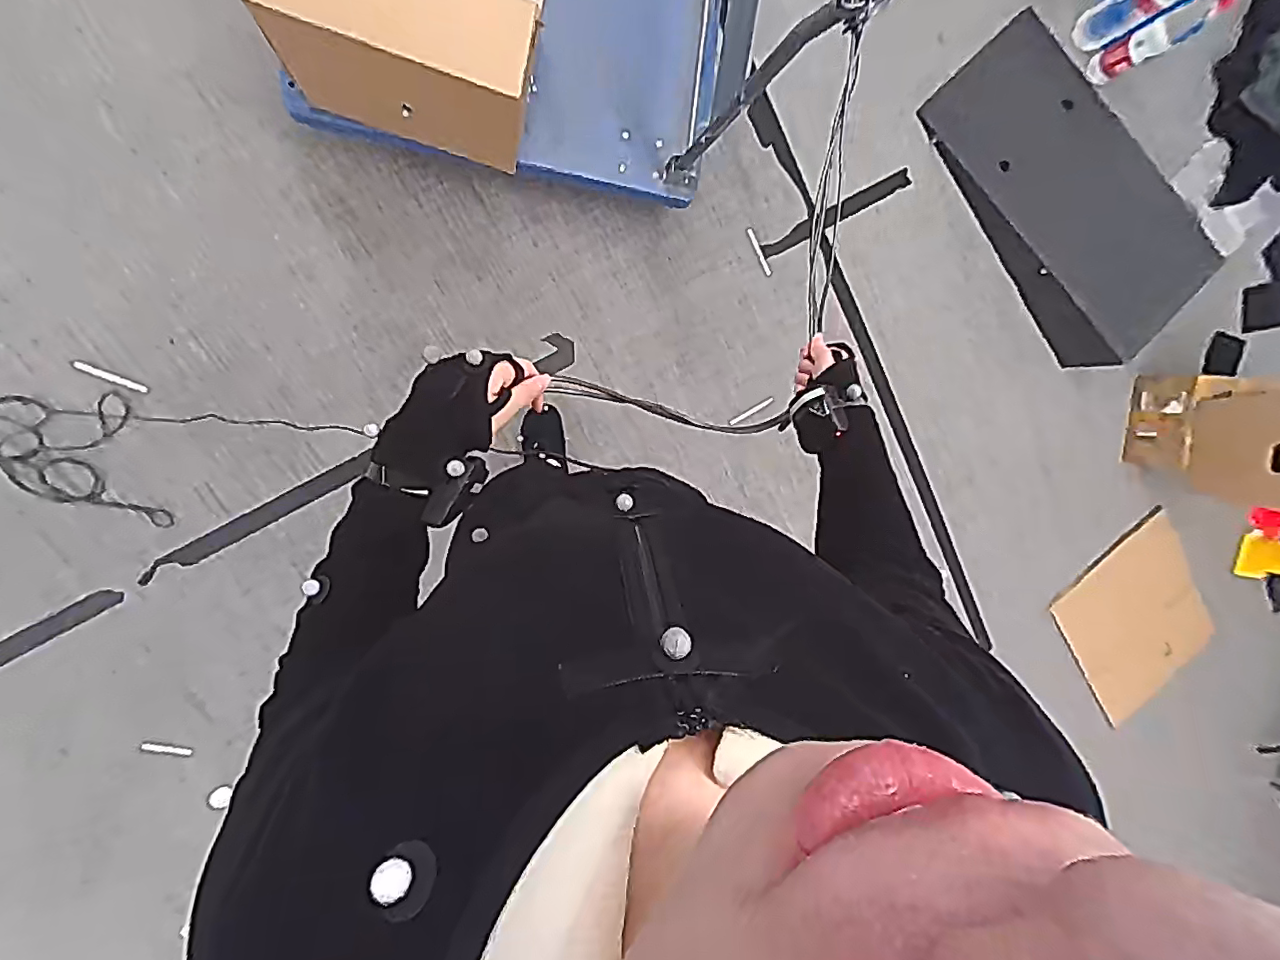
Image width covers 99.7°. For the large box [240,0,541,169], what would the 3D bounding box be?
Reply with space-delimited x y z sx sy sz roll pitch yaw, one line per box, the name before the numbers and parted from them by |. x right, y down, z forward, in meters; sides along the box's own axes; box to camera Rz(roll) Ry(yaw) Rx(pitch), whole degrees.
large box | -0.392 -0.818 0.954 0.408 0.320 0.320 10 95 -15
